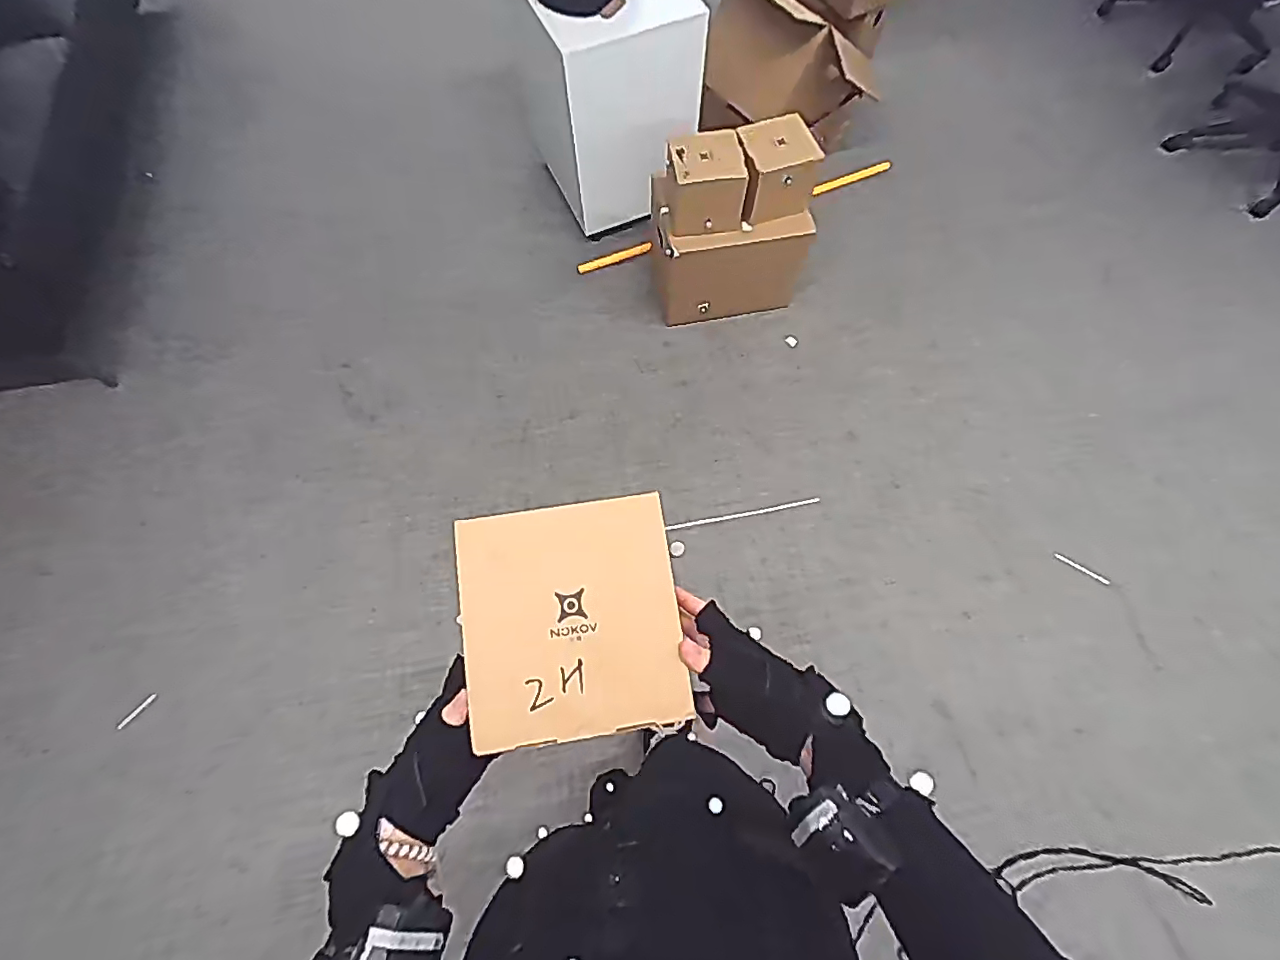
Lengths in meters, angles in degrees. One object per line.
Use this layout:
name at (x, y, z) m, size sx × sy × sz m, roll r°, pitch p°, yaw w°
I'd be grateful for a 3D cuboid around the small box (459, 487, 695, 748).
small box at (-0.054, 0.117, 0.485) m, size 0.168 × 0.176 × 0.179 m, roll -8°, pitch 77°, yaw -3°
